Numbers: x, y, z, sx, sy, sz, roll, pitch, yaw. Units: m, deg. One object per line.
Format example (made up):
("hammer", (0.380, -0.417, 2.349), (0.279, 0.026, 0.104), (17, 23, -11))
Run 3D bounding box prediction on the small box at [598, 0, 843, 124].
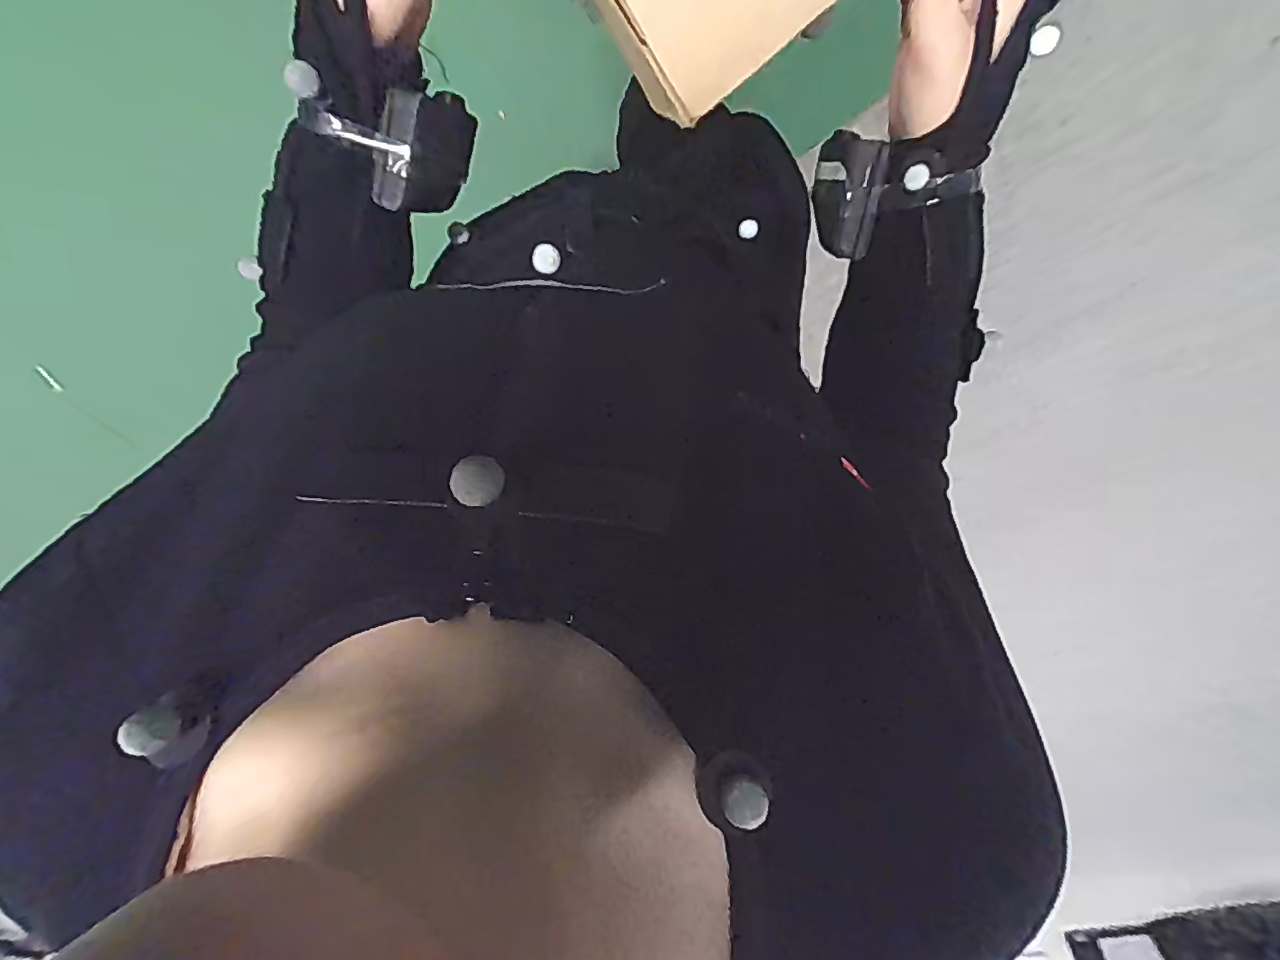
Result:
("small box", (0.039, -0.277, 0.209), (0.179, 0.176, 0.168), (-31, 121, 19))
